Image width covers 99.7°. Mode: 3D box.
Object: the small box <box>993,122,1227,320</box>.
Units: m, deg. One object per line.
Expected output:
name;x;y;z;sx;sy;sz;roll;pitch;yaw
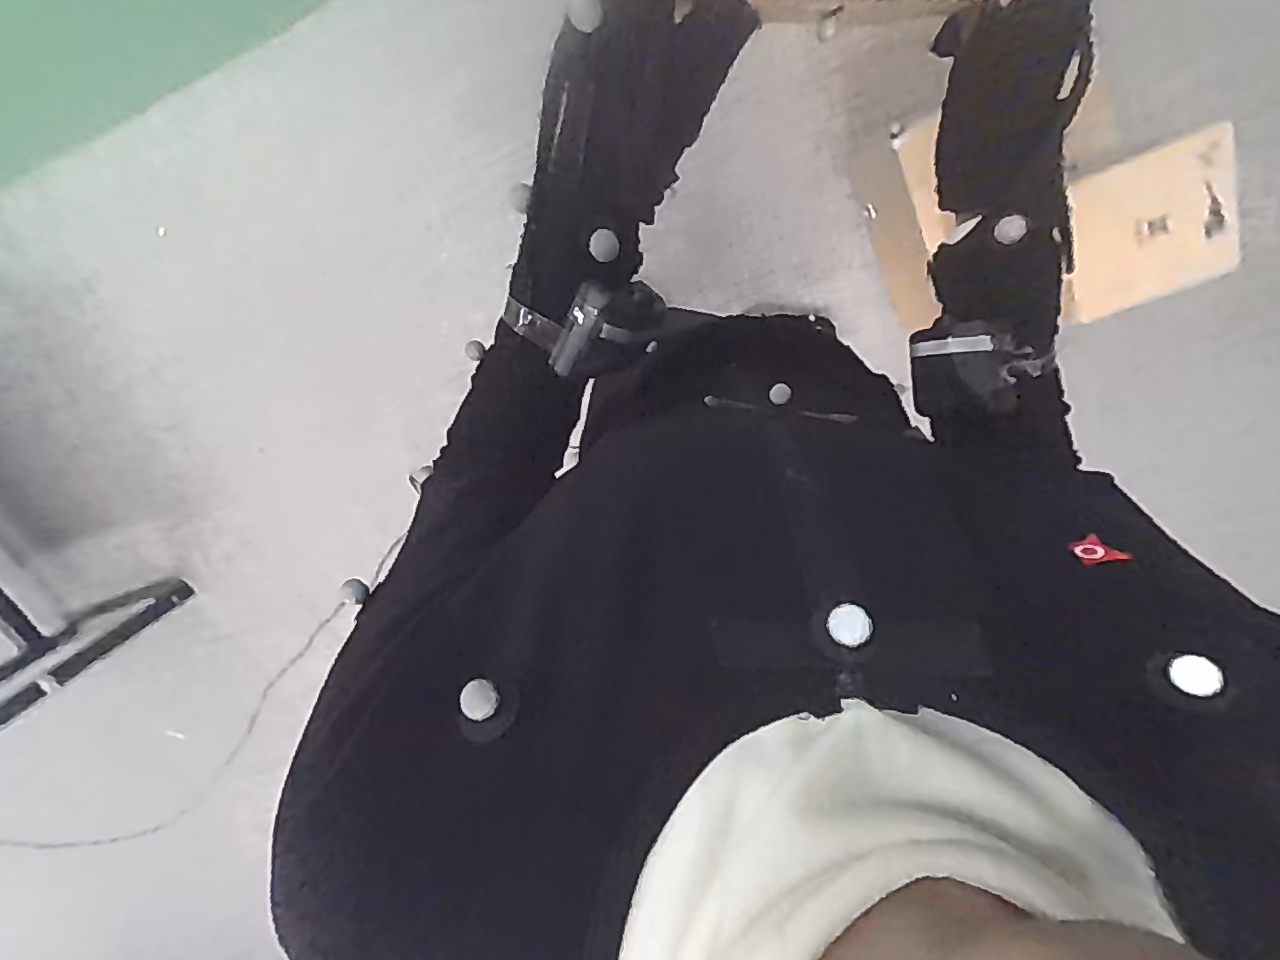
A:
small box;0.593;-0.325;0.707;0.179;0.176;0.168;-19;110;14
